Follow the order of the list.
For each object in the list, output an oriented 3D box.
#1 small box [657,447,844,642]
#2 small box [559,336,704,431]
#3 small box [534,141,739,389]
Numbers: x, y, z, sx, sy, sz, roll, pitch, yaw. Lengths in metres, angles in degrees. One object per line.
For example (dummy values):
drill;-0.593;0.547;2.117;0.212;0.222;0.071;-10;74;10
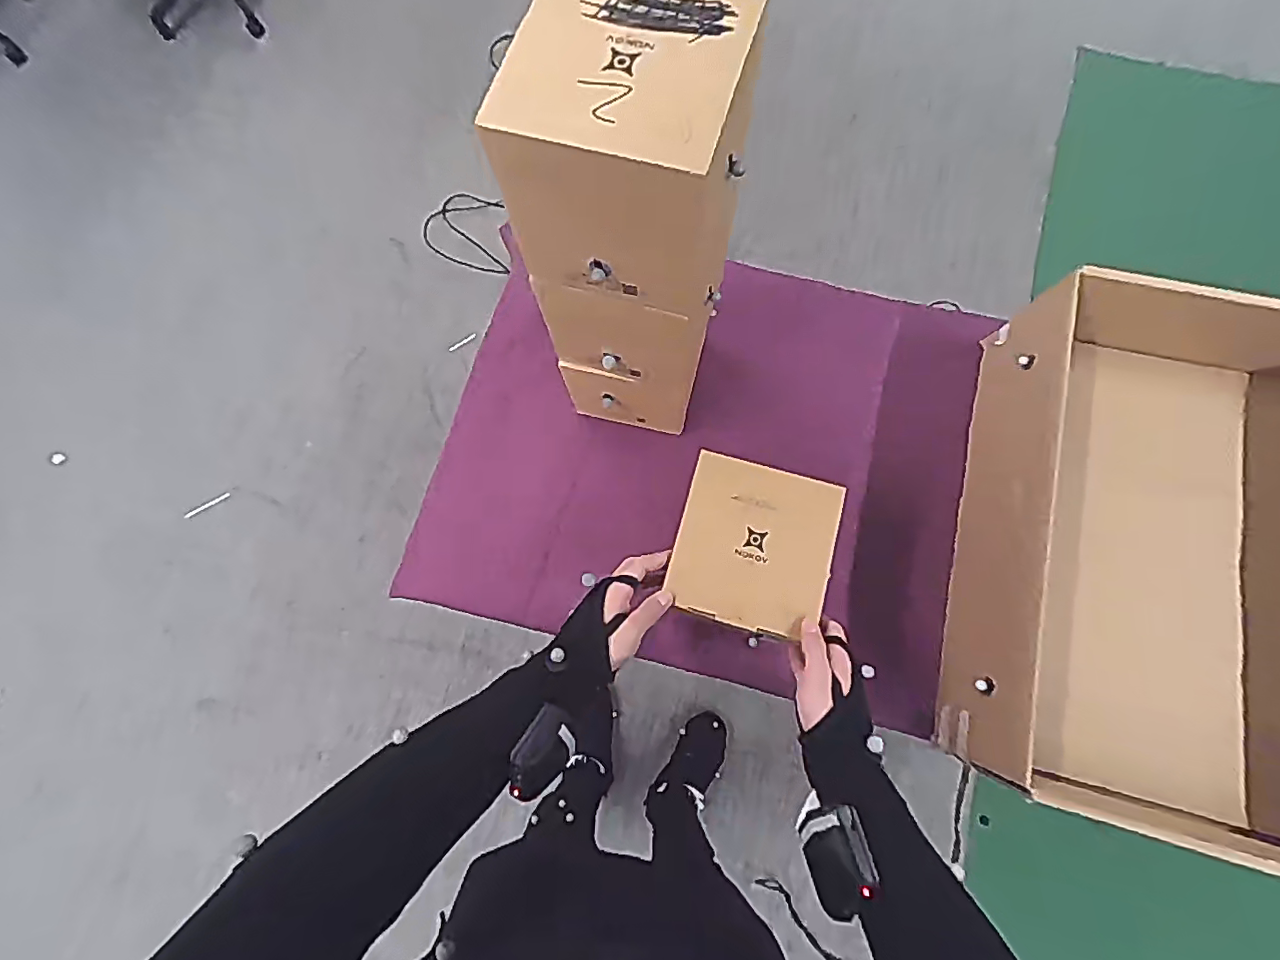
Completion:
small box;0.124;0.085;0.654;0.168;0.176;0.179;16;75;6
small box;-0.001;-0.187;0.774;0.168;0.176;0.179;13;75;6
small box;0.001;-0.233;0.616;0.168;0.176;0.179;17;76;7
